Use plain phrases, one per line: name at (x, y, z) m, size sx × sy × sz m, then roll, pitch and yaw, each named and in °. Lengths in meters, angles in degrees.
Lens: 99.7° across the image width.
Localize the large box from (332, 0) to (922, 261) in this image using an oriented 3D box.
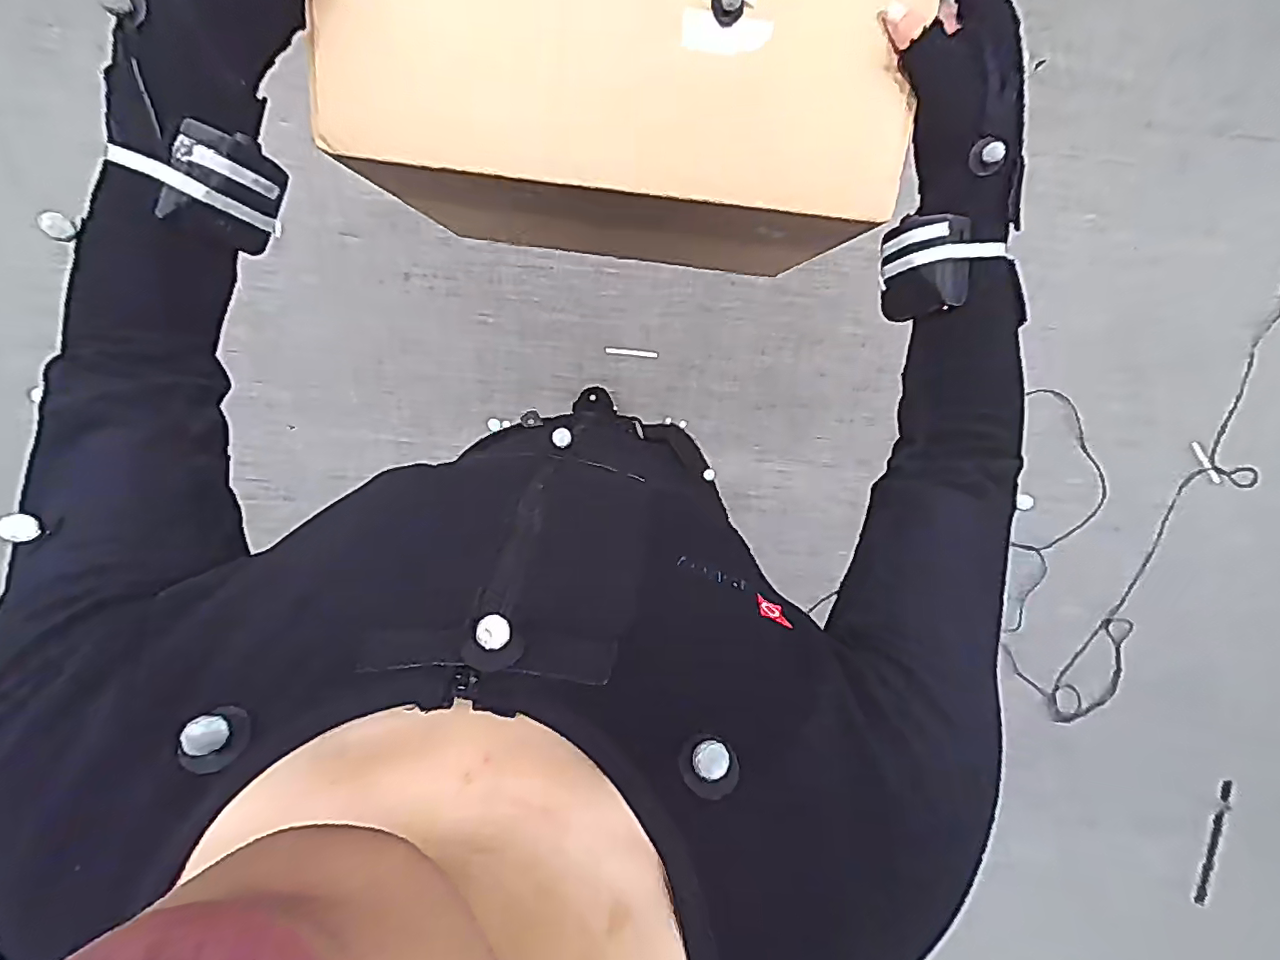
large box at (-0.007, -0.405, 0.497) m, size 0.408 × 0.320 × 0.320 m, roll 6°, pitch 105°, yaw -3°
